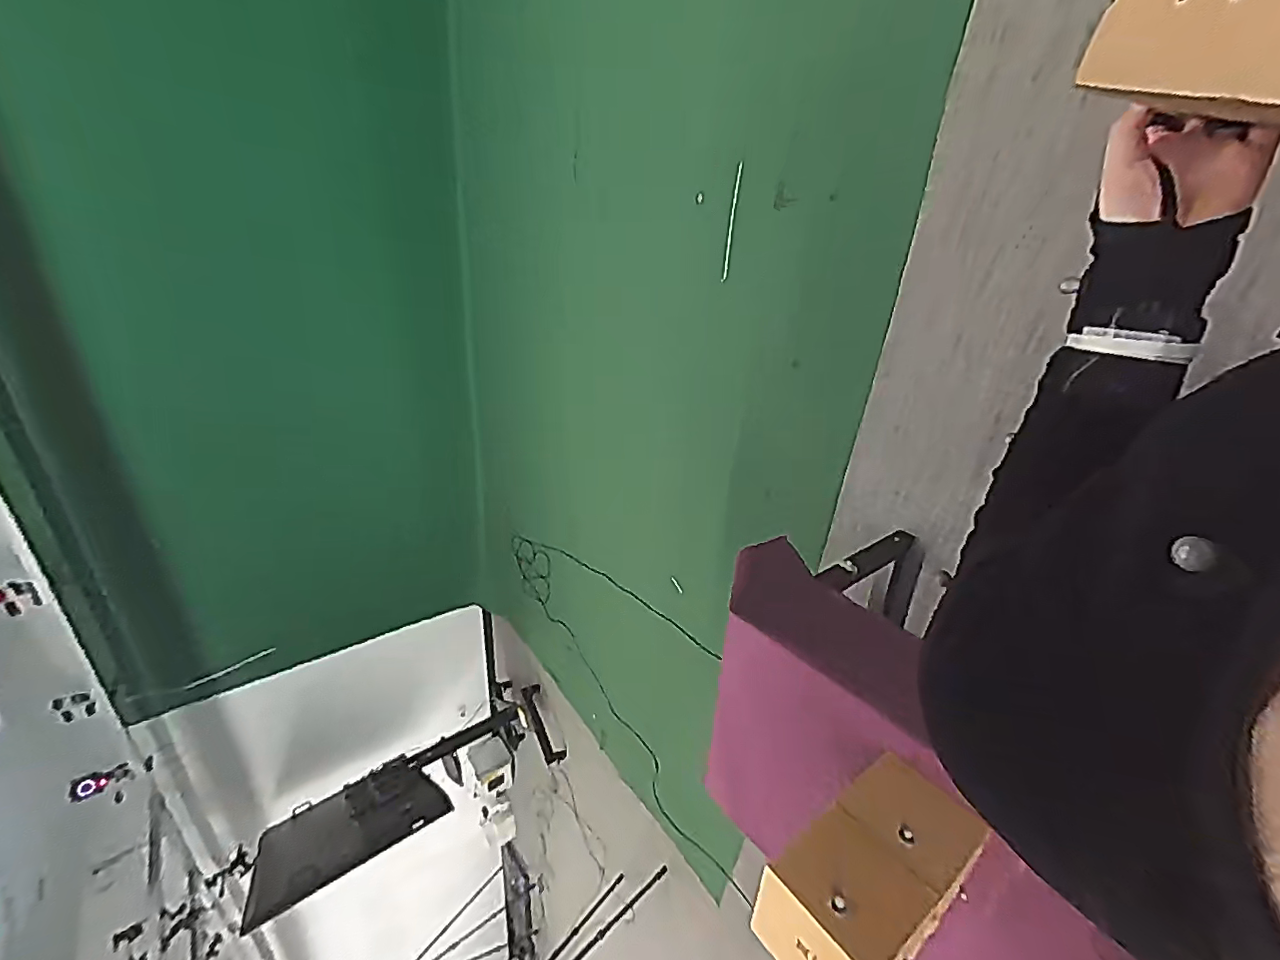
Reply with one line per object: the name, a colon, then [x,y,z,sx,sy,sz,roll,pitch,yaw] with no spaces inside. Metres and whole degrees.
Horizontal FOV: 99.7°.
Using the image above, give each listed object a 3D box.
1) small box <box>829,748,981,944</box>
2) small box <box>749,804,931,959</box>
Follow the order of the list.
small box: [0.425,0.592,0.898,0.179,0.176,0.168,32,128,45]
small box: [0.294,0.627,0.808,0.179,0.176,0.168,30,126,44]
